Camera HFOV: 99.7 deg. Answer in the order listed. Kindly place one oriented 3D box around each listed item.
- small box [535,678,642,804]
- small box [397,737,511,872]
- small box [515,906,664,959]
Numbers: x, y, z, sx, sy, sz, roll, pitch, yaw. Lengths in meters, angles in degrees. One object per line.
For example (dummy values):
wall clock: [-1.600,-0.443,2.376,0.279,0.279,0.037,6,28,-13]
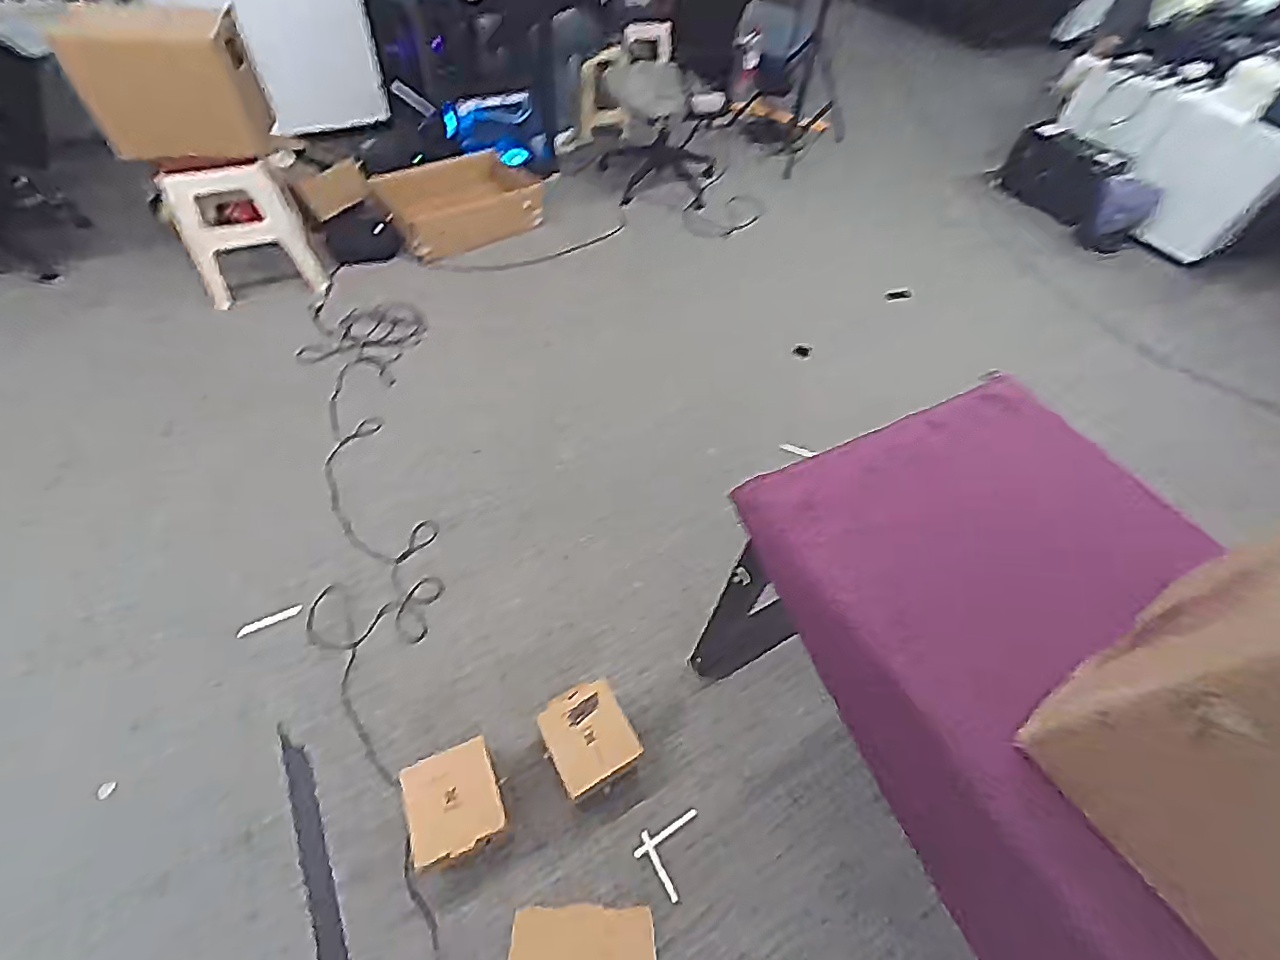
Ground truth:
small box: [-0.115,0.567,1.170,0.168,0.176,0.179,-24,59,-22]
small box: [-0.366,0.651,1.084,0.168,0.176,0.179,-17,56,-19]
small box: [-0.060,0.602,0.571,0.168,0.176,0.179,4,9,-5]
